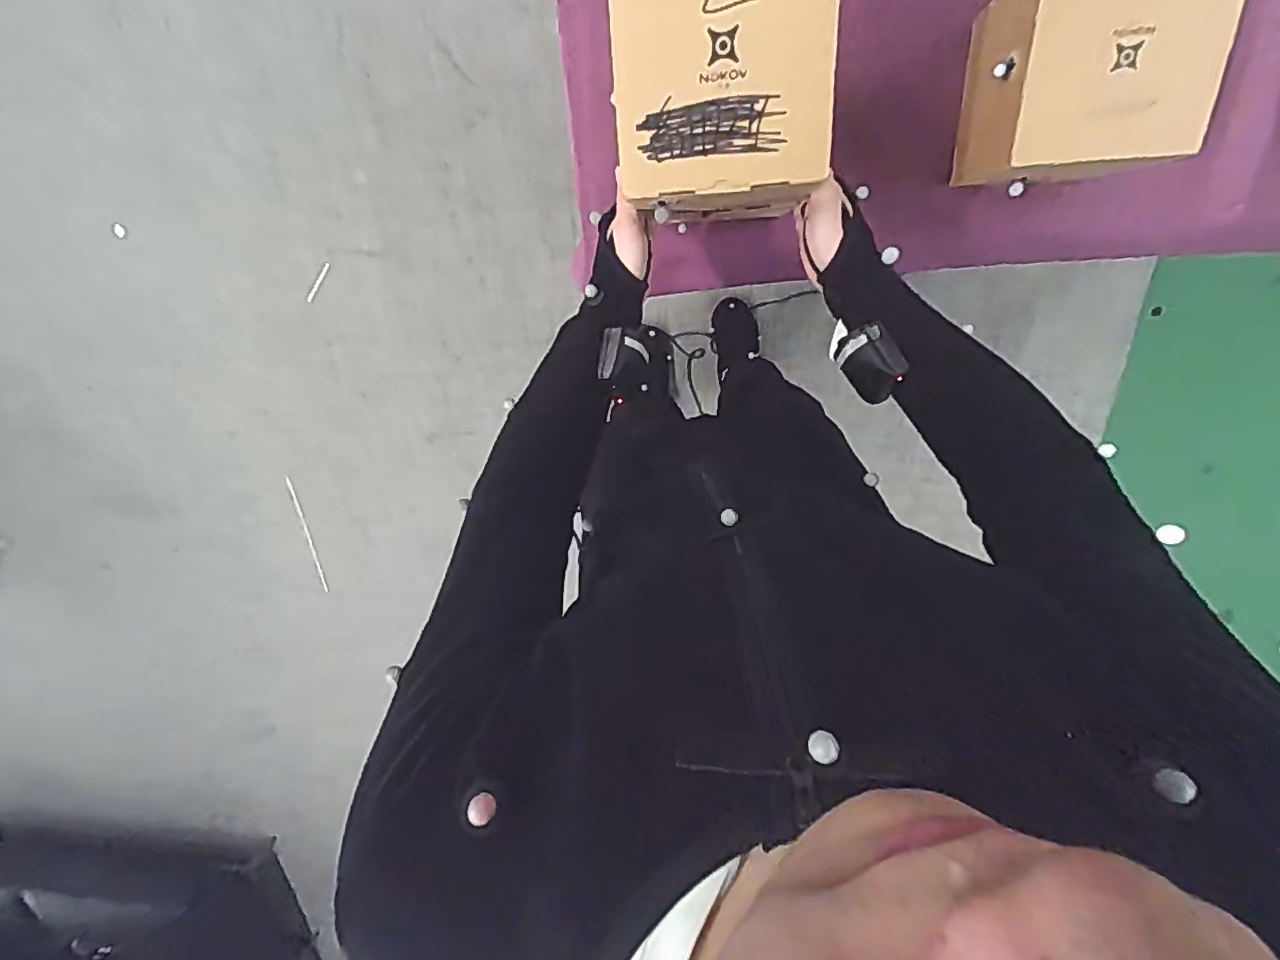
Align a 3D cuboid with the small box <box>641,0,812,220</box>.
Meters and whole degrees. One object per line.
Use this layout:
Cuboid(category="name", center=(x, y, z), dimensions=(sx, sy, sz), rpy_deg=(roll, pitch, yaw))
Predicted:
Cuboid(category="small box", center=(0.096, -0.401, 0.623), dimensions=(0.168, 0.176, 0.179), rpy_deg=(0, 111, 8))
